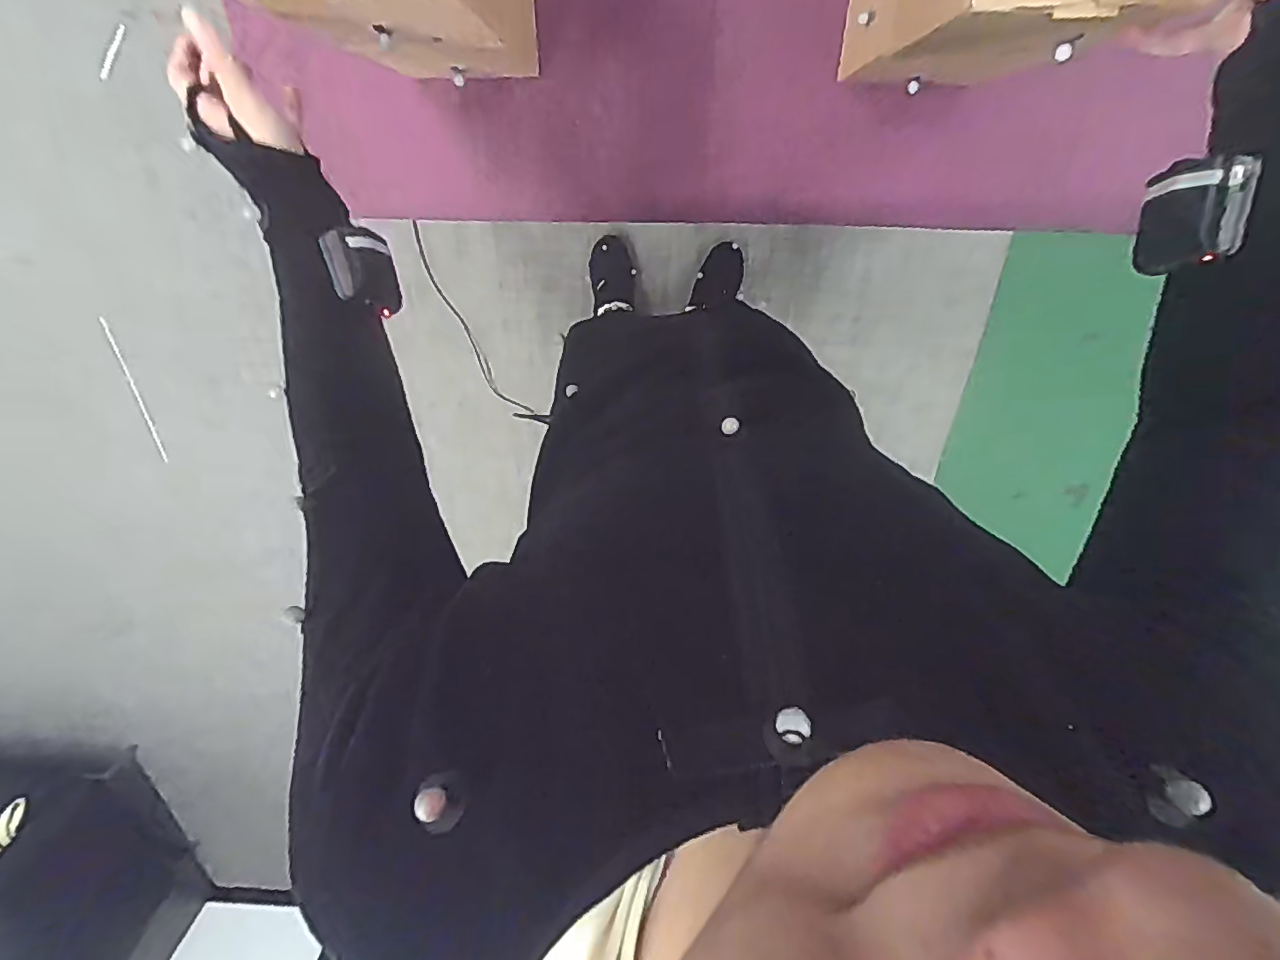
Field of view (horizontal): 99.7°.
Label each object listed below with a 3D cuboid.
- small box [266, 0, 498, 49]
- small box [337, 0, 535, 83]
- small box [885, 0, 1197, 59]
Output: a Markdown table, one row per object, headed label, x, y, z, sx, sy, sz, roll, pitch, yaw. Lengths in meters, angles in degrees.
| label | x | y | z | sx | sy | sz | roll | pitch | yaw |
| --- | --- | --- | --- | --- | --- | --- | --- | --- | --- |
| small box | -0.220 | -0.466 | 0.420 | 0.168 | 0.176 | 0.179 | 0 | 118 | 3 |
| small box | -0.213 | -0.539 | 0.565 | 0.168 | 0.176 | 0.179 | 2 | 118 | 3 |
| small box | 0.304 | -0.437 | 0.403 | 0.168 | 0.176 | 0.179 | 2 | 117 | 2 |
